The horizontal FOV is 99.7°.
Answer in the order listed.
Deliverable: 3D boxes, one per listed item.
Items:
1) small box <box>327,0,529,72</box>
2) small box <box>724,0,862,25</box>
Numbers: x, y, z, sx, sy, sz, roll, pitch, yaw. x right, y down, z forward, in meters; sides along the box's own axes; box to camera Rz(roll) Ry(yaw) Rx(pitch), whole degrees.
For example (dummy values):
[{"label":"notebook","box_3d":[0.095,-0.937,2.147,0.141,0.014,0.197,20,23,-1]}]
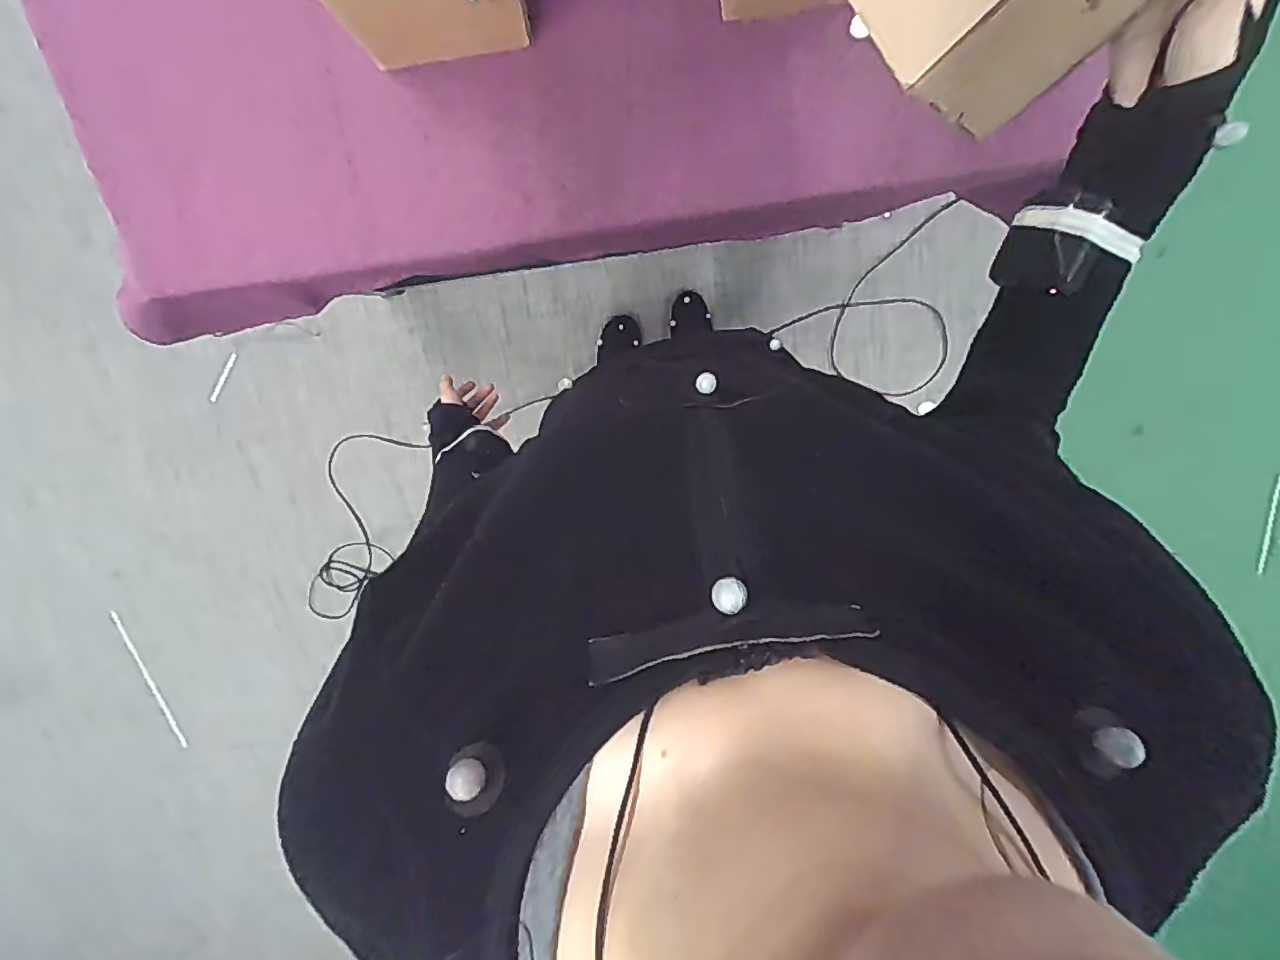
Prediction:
[{"label":"small box","box_3d":[-0.216,-0.522,0.509,0.179,0.176,0.168,-11,107,-2]},{"label":"small box","box_3d":[0.173,-0.583,0.523,0.179,0.176,0.168,-11,110,0]}]
